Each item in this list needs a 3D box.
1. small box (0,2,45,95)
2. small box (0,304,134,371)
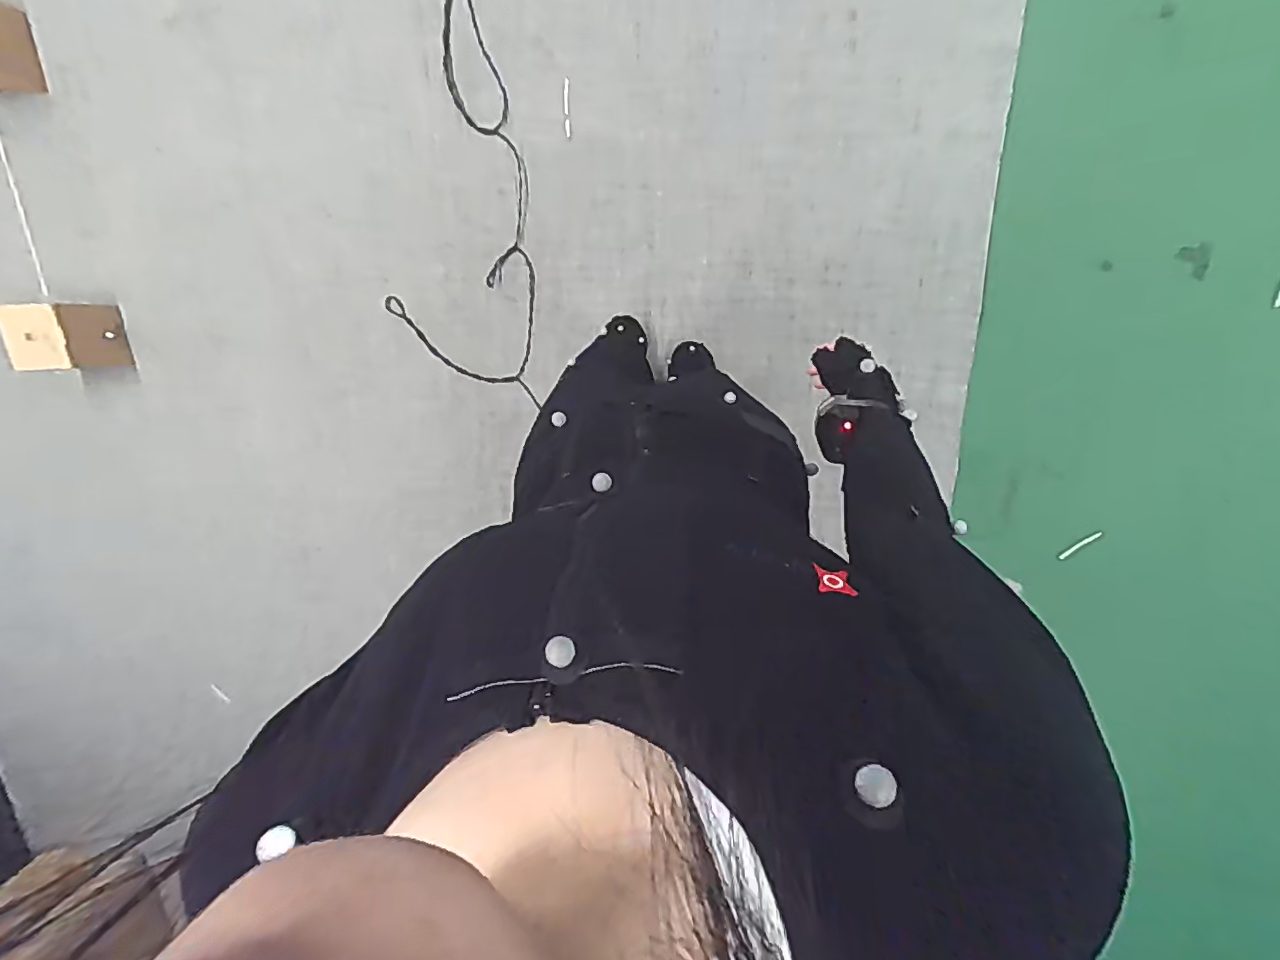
[{"bbox_3d":[-1.586,-1.041,1.270,0.168,0.176,0.179,-1,107,5],"label":"small box"},{"bbox_3d":[-1.545,-0.384,1.462,0.179,0.176,0.168,-1,107,6],"label":"small box"}]
